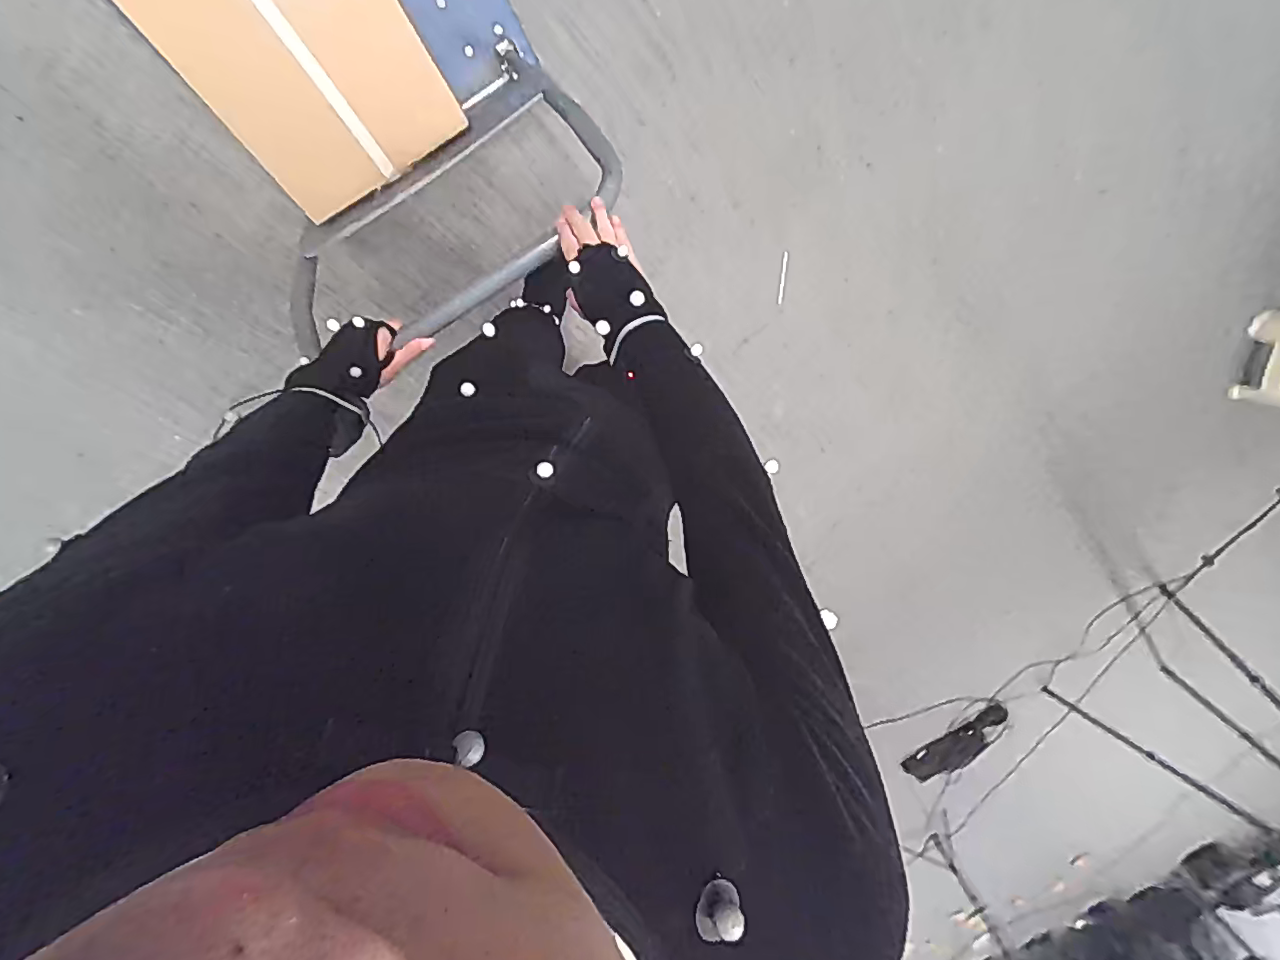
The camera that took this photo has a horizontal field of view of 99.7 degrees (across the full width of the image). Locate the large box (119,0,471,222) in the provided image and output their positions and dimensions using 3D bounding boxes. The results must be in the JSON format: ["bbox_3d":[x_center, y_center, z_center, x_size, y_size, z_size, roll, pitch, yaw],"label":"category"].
[{"bbox_3d":[-0.529,-0.716,0.865,0.320,0.320,0.408,-31,135,4],"label":"large box"}]
